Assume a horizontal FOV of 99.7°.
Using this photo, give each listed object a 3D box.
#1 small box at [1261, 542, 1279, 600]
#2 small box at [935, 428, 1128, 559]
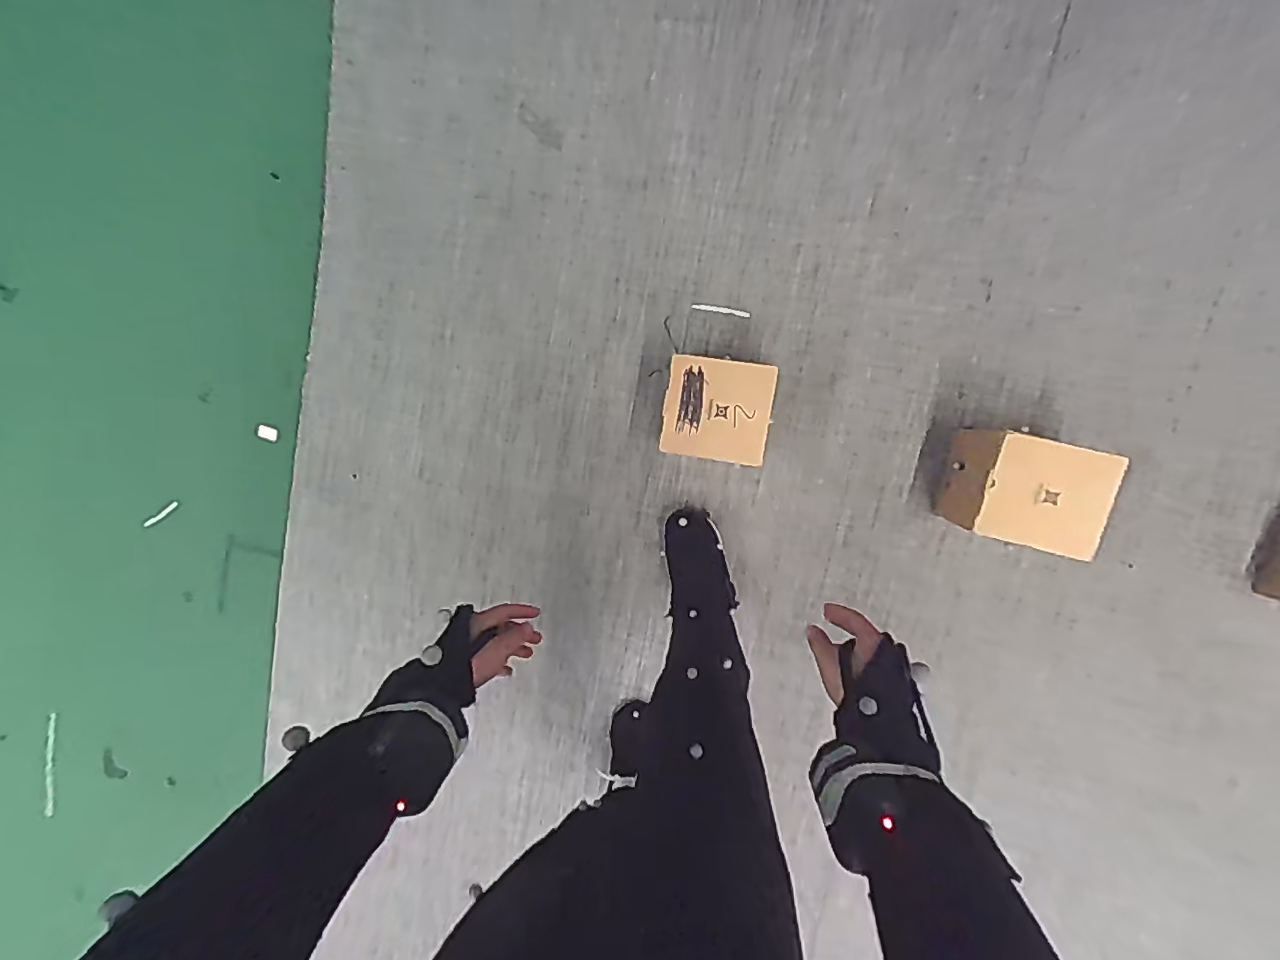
[{"bbox_3d":[1.125,0.143,0.815,0.168,0.176,0.179,18,99,6],"label":"small box"},{"bbox_3d":[0.624,0.011,0.888,0.179,0.176,0.168,14,100,9],"label":"small box"}]
